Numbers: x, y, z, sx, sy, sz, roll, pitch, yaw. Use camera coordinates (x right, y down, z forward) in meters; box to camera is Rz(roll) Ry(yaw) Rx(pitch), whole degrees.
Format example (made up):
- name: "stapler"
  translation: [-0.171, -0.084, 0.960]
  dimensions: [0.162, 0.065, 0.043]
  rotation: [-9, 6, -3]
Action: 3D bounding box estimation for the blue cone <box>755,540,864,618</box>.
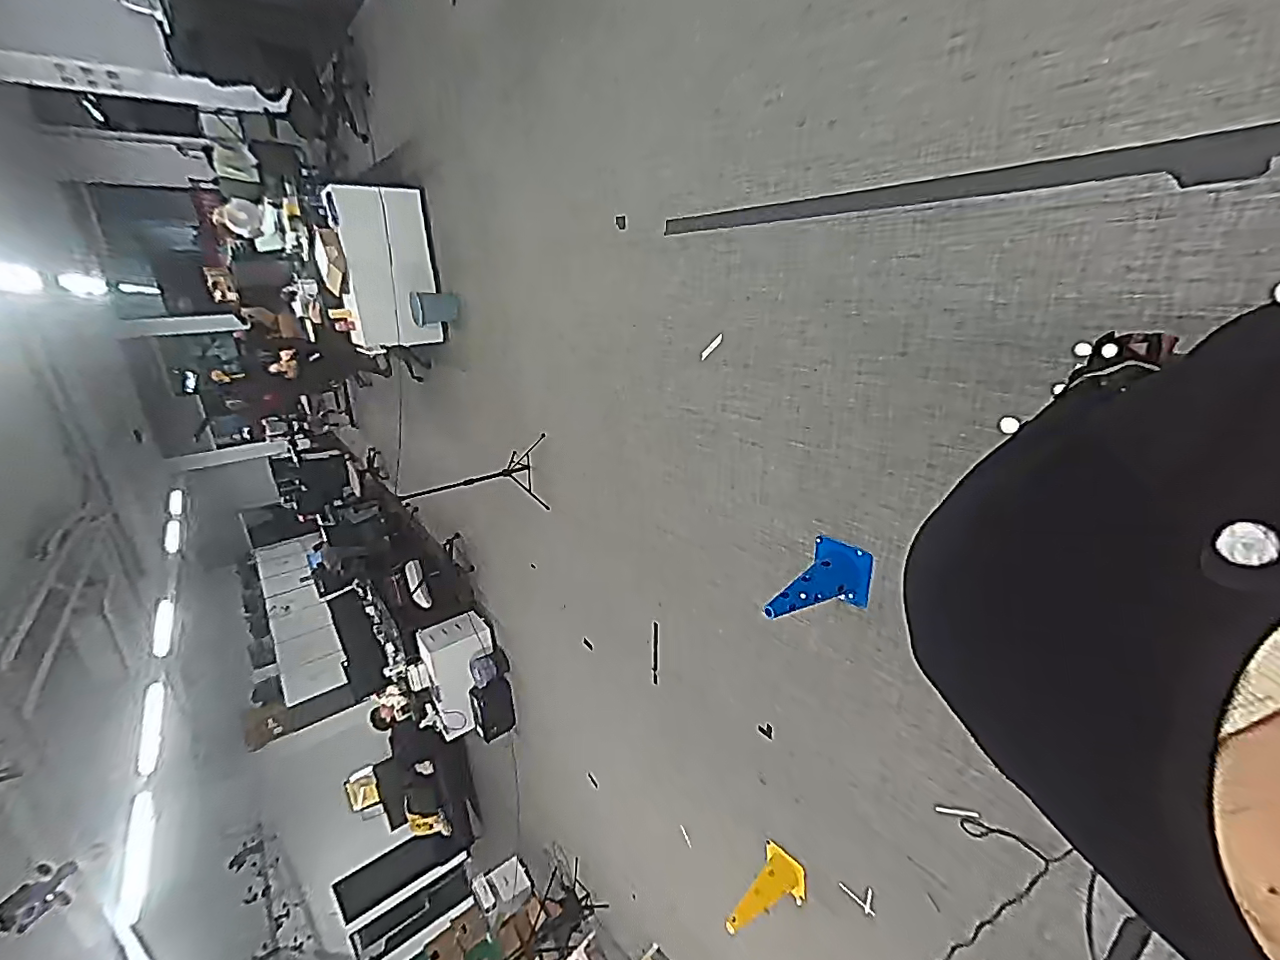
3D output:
- name: "blue cone"
  translation: [0.498, 0.340, 1.646]
  dimensions: [0.192, 0.380, 0.193]
  rotation: [26, 124, 49]
